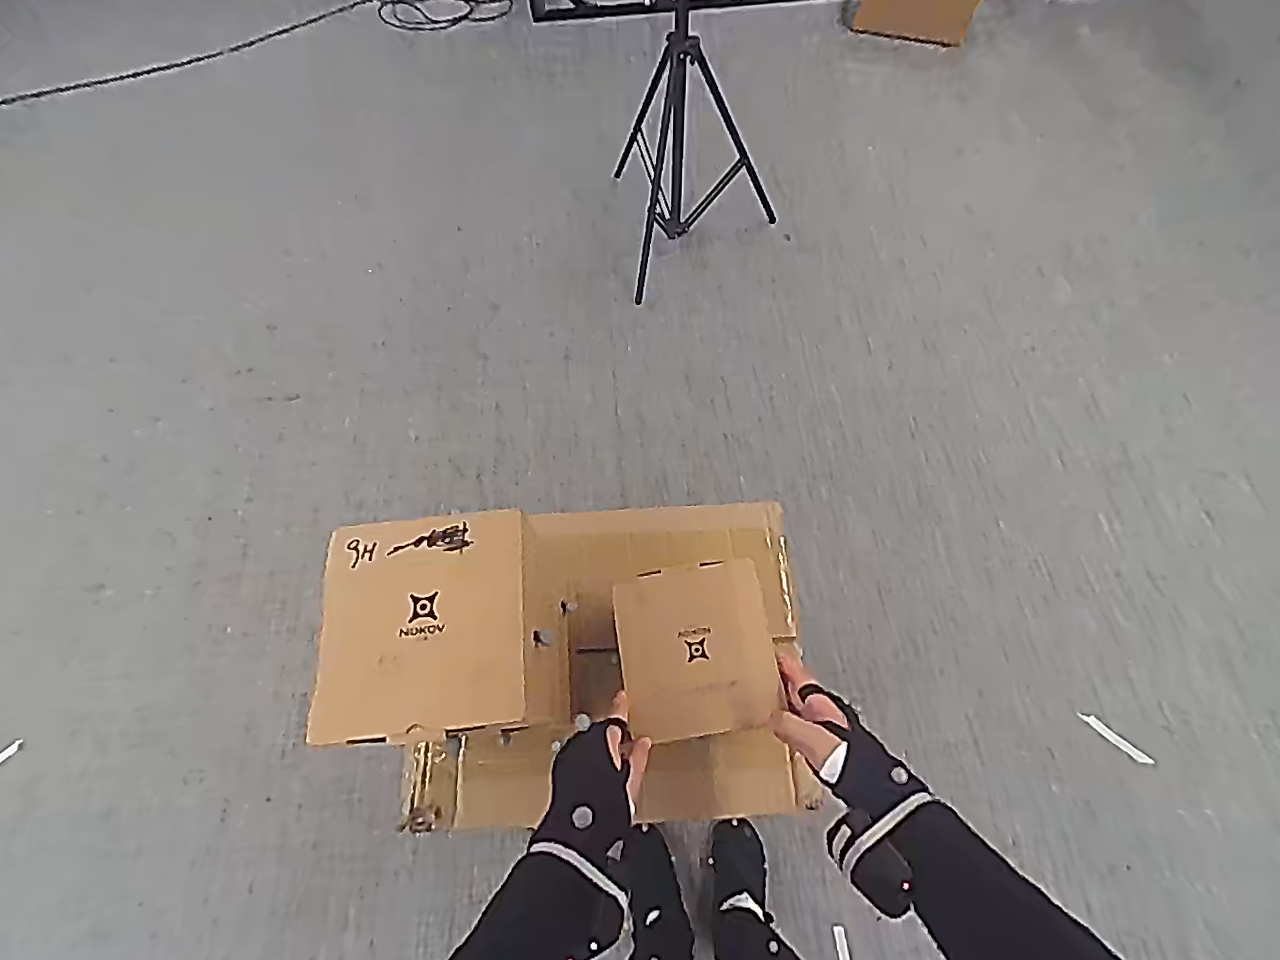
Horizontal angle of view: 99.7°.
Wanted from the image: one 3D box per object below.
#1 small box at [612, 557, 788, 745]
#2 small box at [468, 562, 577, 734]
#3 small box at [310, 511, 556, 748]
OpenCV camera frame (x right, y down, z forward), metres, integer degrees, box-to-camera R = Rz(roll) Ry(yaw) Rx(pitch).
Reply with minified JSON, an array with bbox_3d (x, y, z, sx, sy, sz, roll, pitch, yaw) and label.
[{"bbox_3d":[0.063,0.209,0.657,0.168,0.176,0.179,-10,69,0],"label":"small box"},{"bbox_3d":[-0.170,0.212,0.664,0.168,0.176,0.179,-5,67,-1],"label":"small box"},{"bbox_3d":[-0.176,0.144,0.514,0.168,0.176,0.179,-6,67,-2],"label":"small box"}]
